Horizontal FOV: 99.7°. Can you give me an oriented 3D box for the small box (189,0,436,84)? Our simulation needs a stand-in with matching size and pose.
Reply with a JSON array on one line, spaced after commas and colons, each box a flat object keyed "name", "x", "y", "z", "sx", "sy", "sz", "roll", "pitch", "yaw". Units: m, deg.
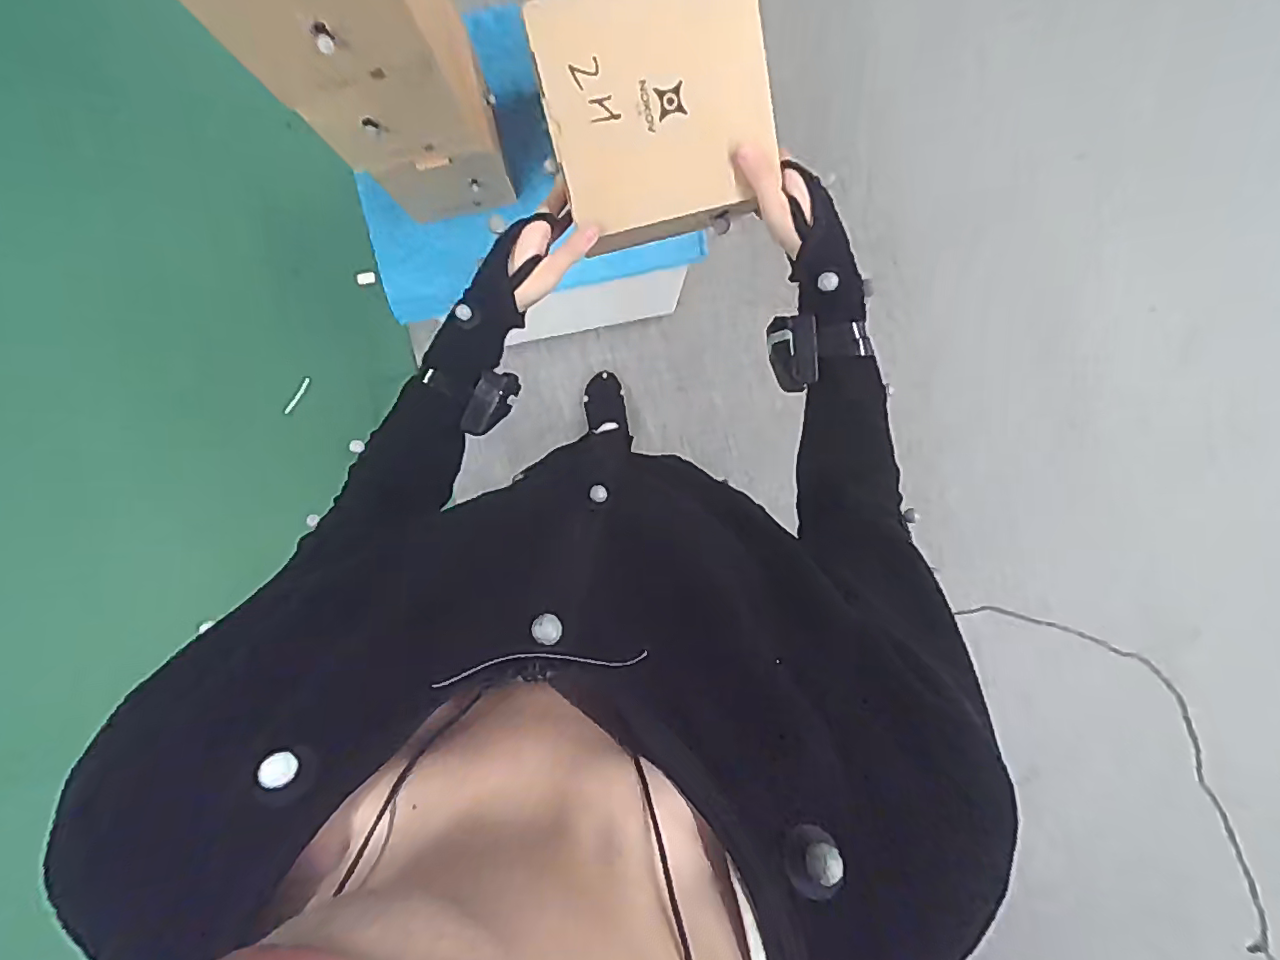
[{"name": "small box", "x": -0.289, "y": -0.470, "z": 0.451, "sx": 0.168, "sy": 0.176, "sz": 0.179, "roll": -11, "pitch": 94, "yaw": -2}]

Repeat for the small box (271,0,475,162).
[{"name": "small box", "x": -0.301, "y": -0.490, "z": 0.614, "sx": 0.168, "sy": 0.176, "sz": 0.179, "roll": -10, "pitch": 93, "yaw": -1}]

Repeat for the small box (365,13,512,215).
[{"name": "small box", "x": -0.293, "y": -0.504, "z": 0.775, "sx": 0.168, "sy": 0.176, "sz": 0.179, "roll": -11, "pitch": 94, "yaw": -2}]

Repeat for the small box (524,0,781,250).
[{"name": "small box", "x": 0.009, "y": -0.318, "z": 0.489, "sx": 0.179, "sy": 0.176, "sz": 0.168, "roll": -13, "pitch": 107, "yaw": 0}]
